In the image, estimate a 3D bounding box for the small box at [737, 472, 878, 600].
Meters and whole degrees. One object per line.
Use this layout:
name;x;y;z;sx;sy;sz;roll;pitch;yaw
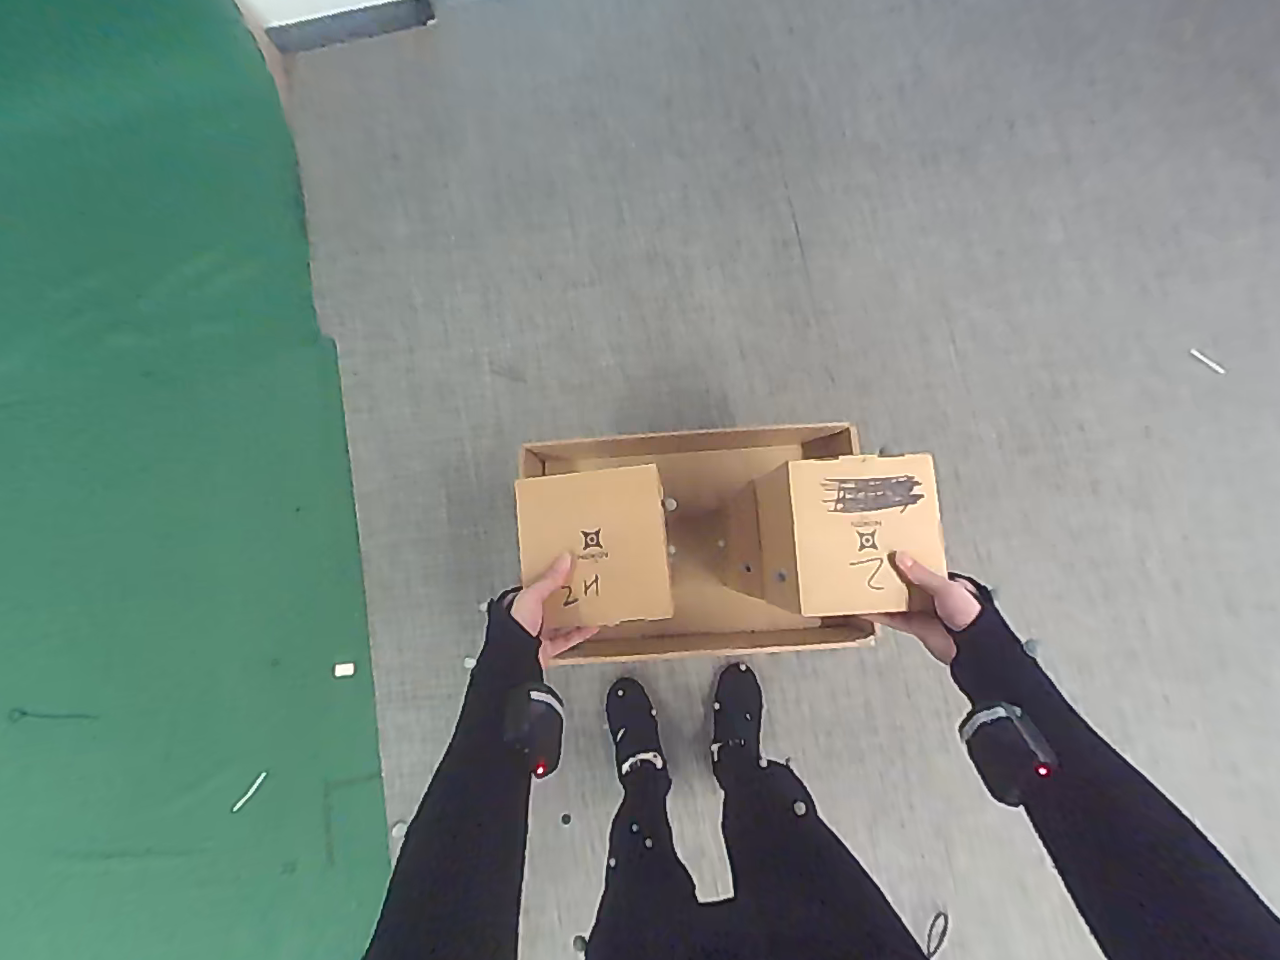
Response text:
small box;0.247;0.089;0.838;0.168;0.176;0.179;-3;80;1

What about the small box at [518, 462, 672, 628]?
small box;-0.049;0.084;0.690;0.168;0.176;0.179;-7;82;4
